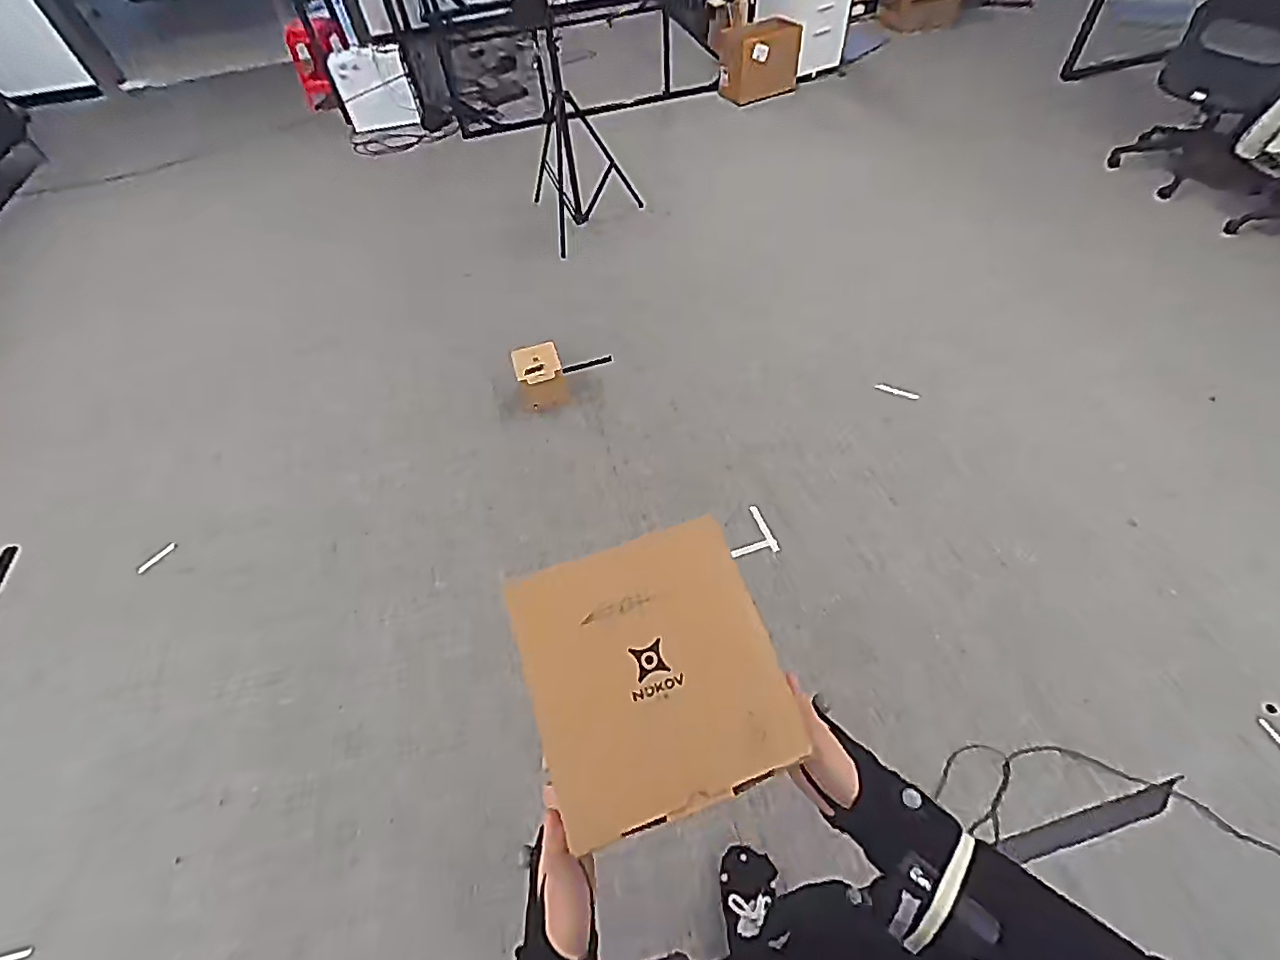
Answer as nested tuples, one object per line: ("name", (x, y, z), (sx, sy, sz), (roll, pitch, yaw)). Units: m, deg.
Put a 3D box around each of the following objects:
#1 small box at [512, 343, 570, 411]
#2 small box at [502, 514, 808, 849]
("small box", (-0.373, -0.383, 2.049), (0.168, 0.176, 0.179), (-17, 54, -7))
("small box", (0.004, 0.155, 0.439), (0.168, 0.176, 0.179), (-18, 67, -10))
